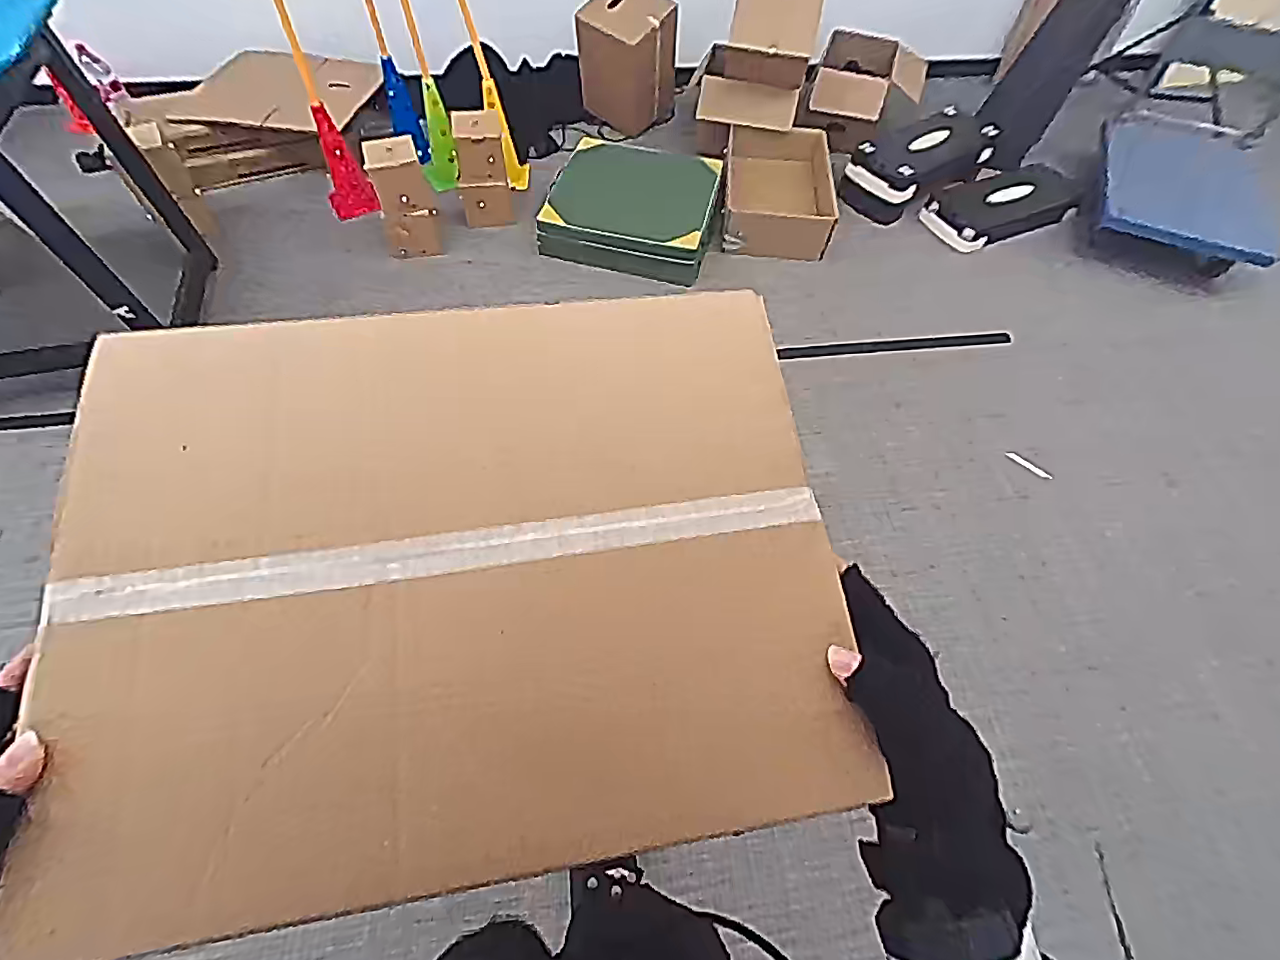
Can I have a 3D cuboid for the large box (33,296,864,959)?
[{"bbox_3d":[-0.108,0.087,0.447,0.408,0.320,0.320,-7,71,-7],"label":"large box"}]
